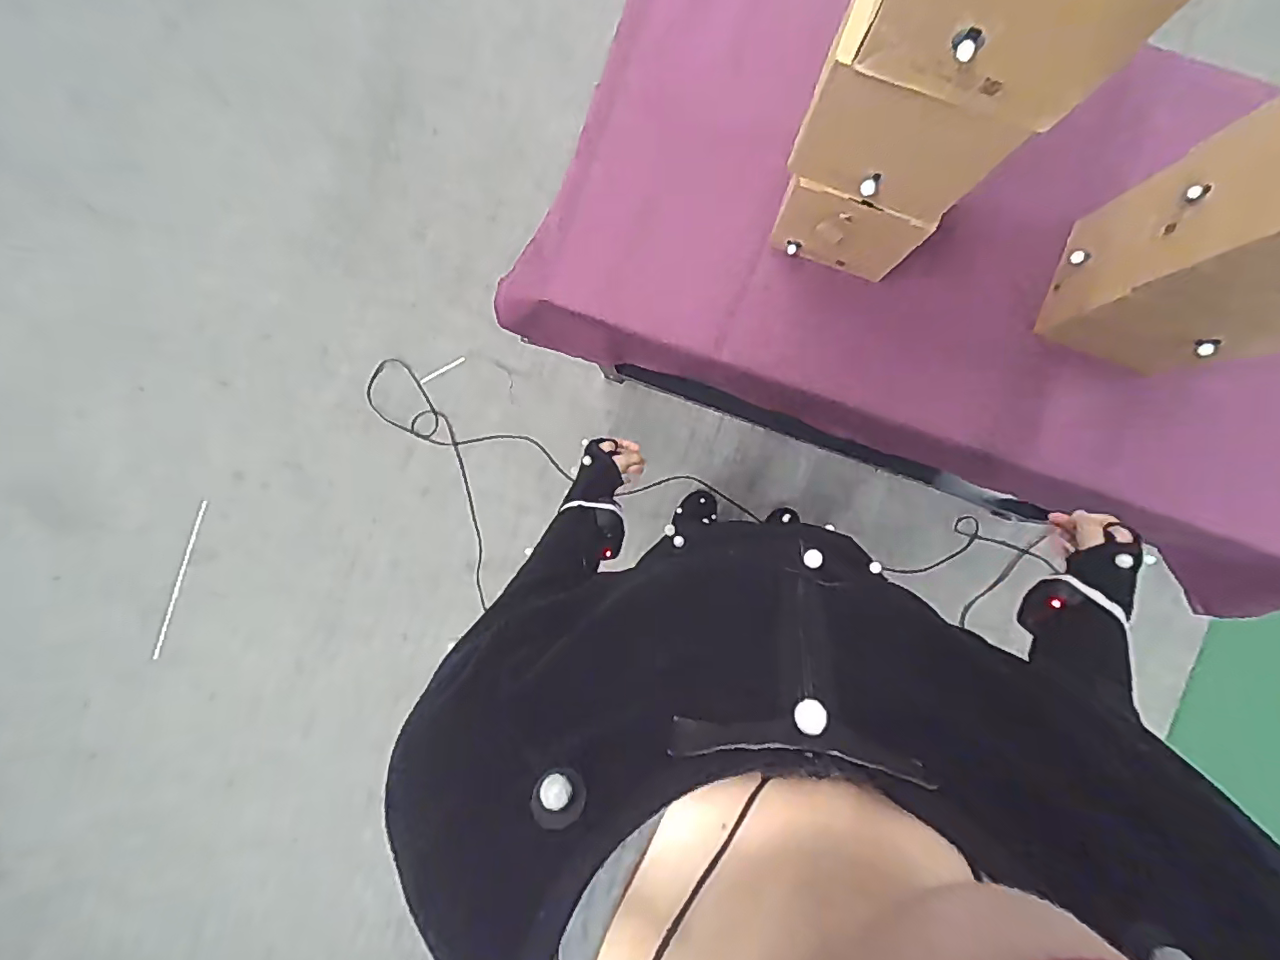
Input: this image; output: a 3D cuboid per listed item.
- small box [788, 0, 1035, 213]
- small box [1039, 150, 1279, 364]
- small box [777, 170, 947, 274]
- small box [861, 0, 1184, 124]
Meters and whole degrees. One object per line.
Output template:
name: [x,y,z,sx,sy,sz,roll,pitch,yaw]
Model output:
small box: [0.267,-0.388,0.517,0.179,0.176,0.168,21,91,1]
small box: [0.655,-0.255,0.665,0.179,0.176,0.168,21,91,2]
small box: [0.285,-0.388,0.681,0.168,0.176,0.179,20,91,1]
small box: [0.272,-0.388,0.353,0.168,0.176,0.179,20,92,2]
